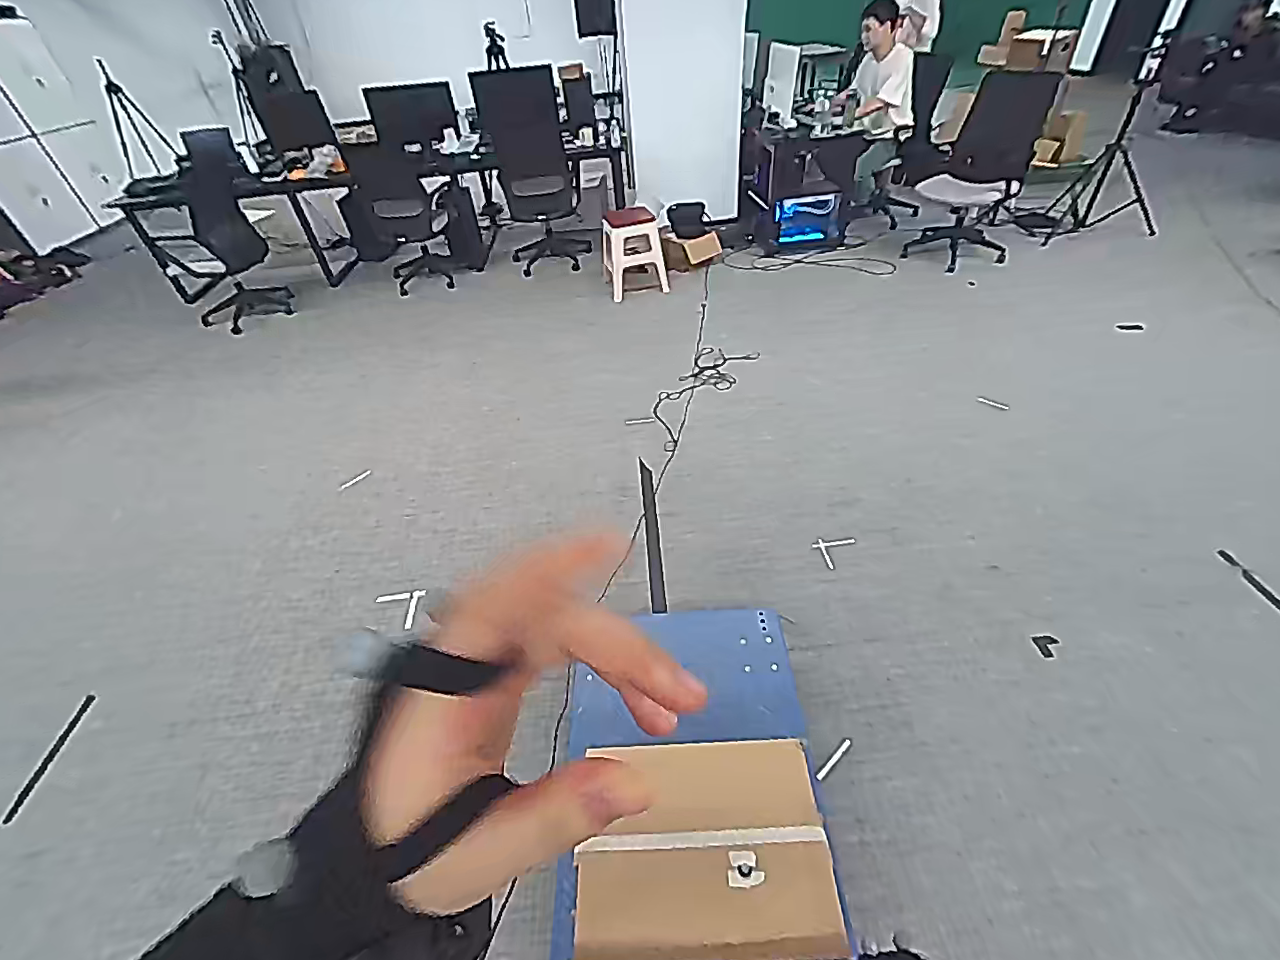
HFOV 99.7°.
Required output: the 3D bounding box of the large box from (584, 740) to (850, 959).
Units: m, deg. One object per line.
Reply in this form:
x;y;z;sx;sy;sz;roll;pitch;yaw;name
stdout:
0.118;0.717;1.002;0.408;0.320;0.320;-4;42;2;large box
